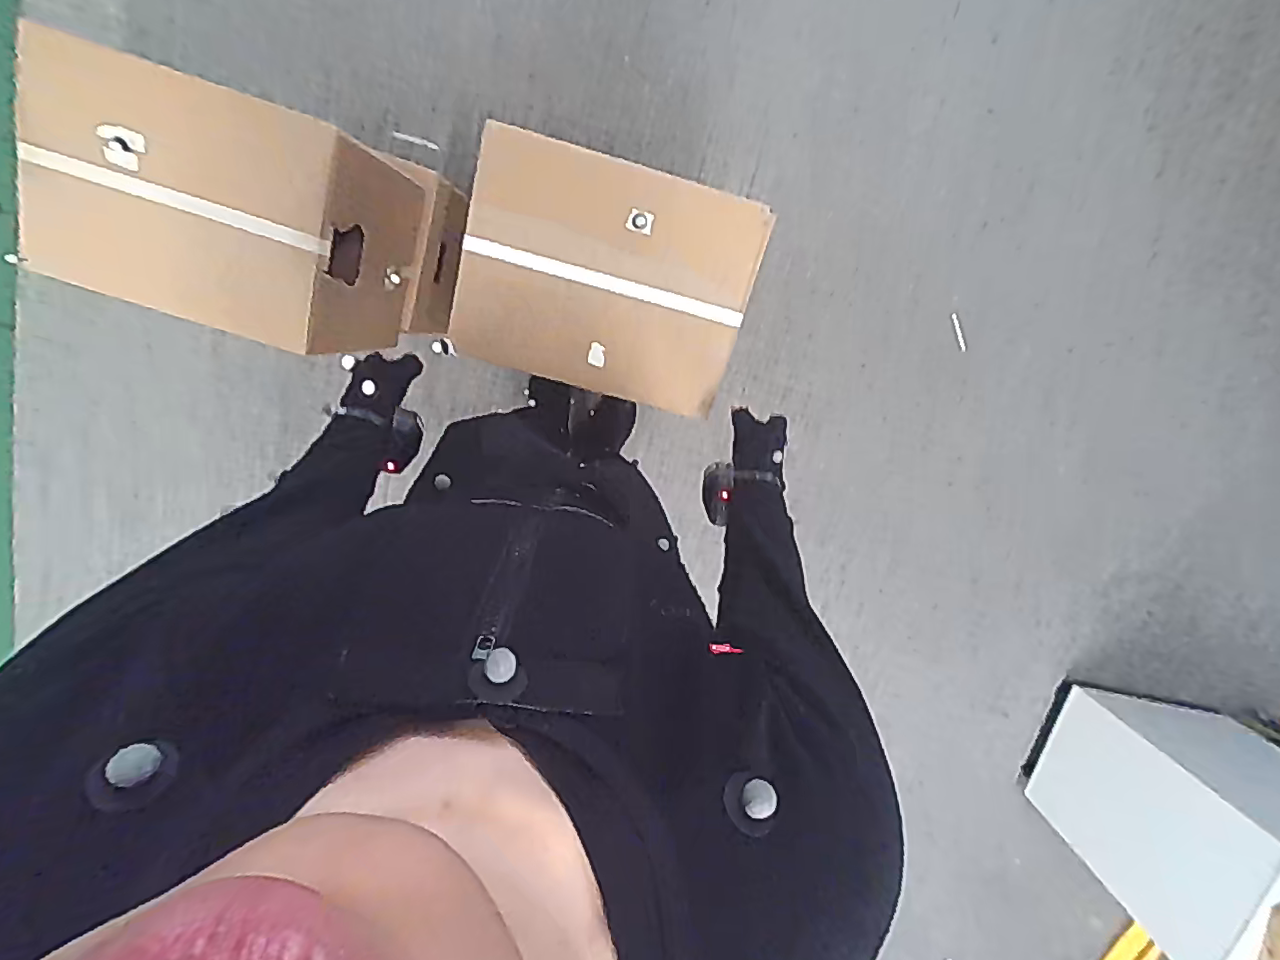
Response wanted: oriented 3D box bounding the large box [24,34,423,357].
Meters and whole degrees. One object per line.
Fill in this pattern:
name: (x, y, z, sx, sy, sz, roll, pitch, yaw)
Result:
large box: (-0.628, -0.414, 0.882, 0.408, 0.320, 0.320, 17, 105, -4)
